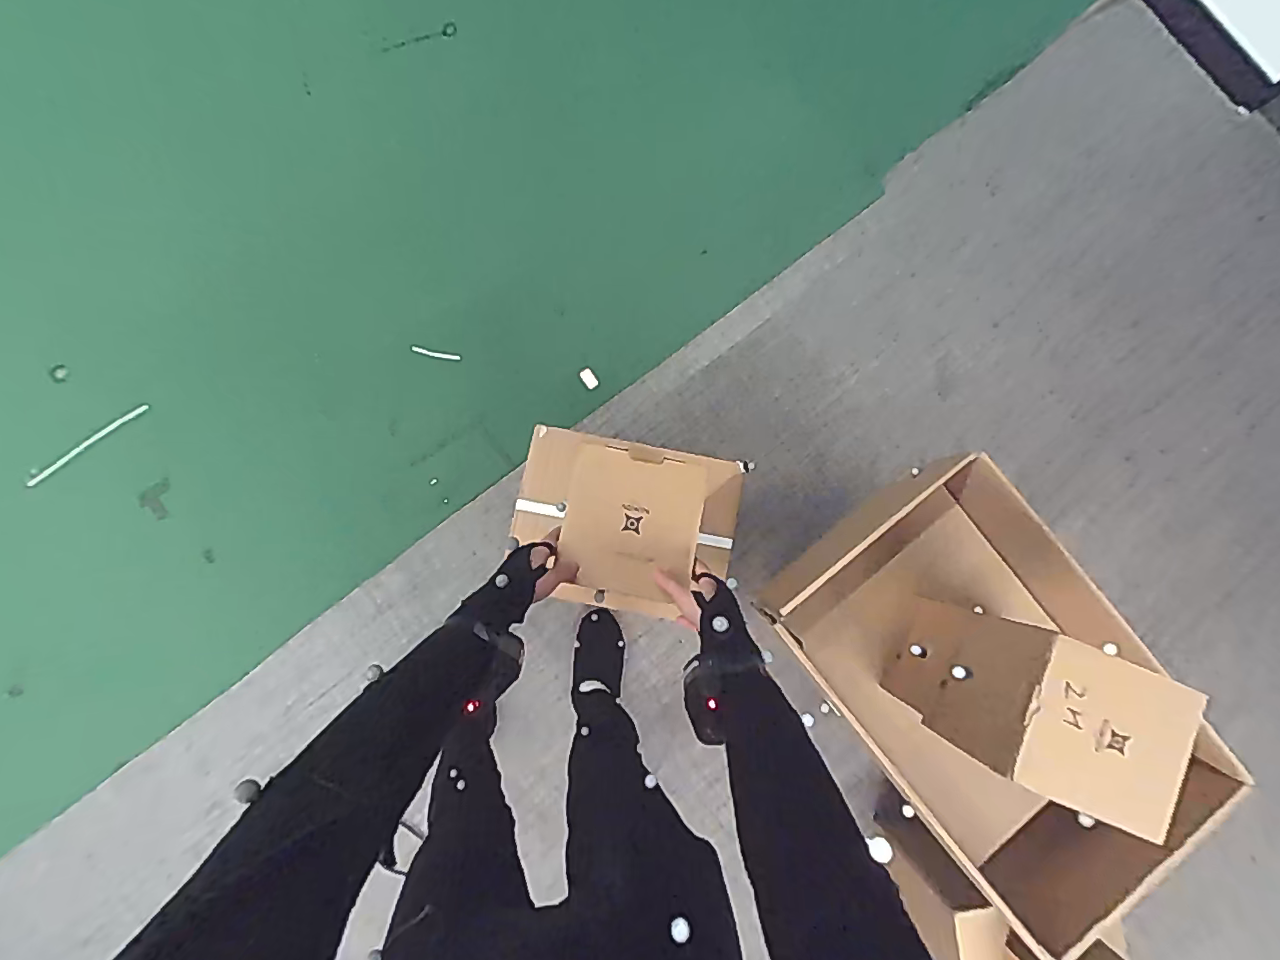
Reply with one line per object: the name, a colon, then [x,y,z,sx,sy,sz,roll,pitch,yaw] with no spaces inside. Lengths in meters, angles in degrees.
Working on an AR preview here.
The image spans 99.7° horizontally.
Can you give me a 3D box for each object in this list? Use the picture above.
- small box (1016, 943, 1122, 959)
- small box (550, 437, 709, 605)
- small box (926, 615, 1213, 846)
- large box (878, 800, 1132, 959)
small box: [0.744,0.891,0.864,0.179,0.176,0.168,-3,86,-3]
small box: [-0.018,0.064,0.720,0.168,0.176,0.179,12,77,-3]
small box: [0.482,0.272,0.634,0.179,0.176,0.168,23,84,1]
large box: [0.732,0.954,1.103,0.320,0.320,0.408,-8,87,-2]
